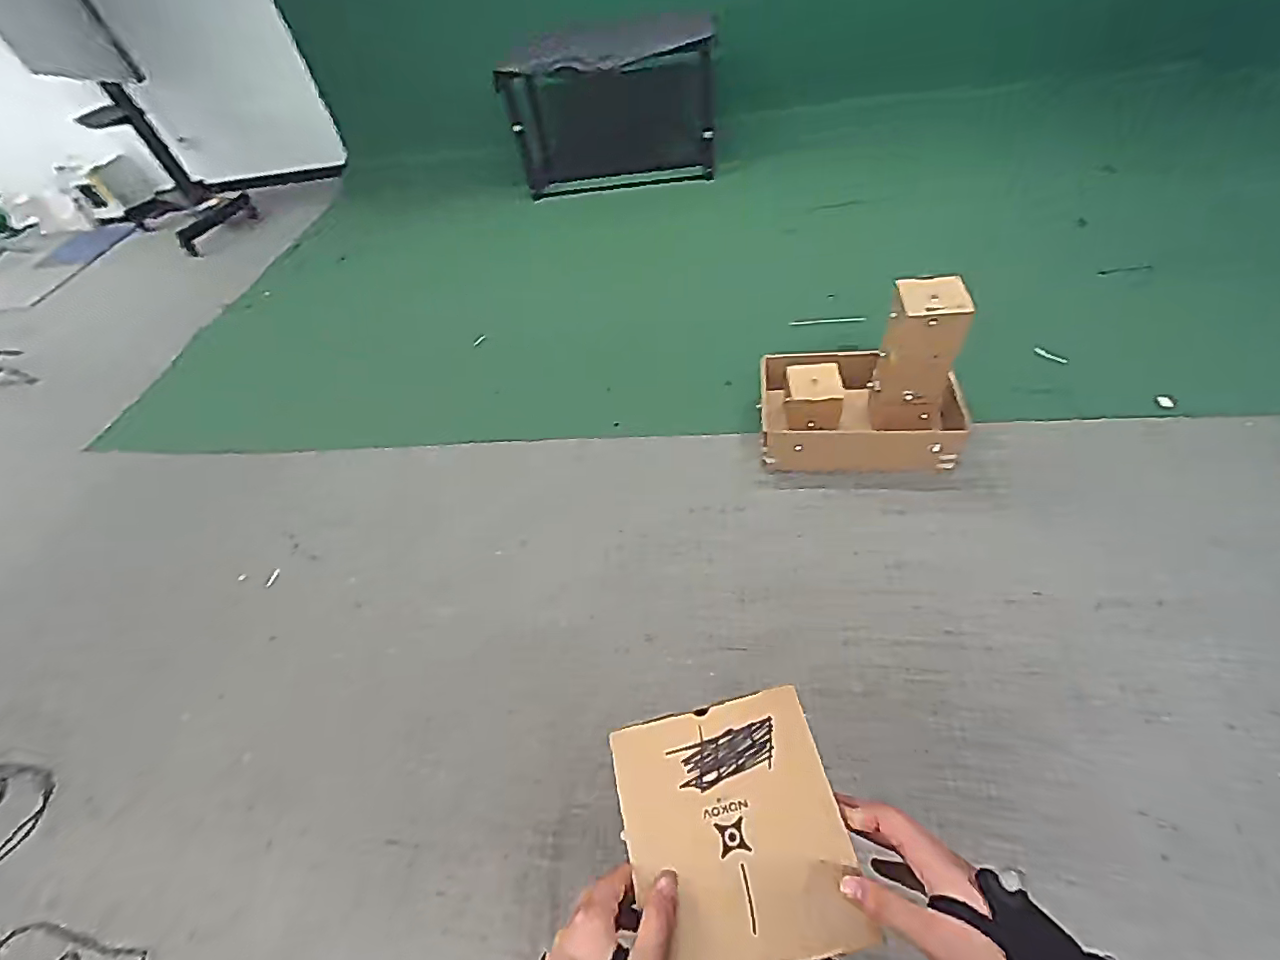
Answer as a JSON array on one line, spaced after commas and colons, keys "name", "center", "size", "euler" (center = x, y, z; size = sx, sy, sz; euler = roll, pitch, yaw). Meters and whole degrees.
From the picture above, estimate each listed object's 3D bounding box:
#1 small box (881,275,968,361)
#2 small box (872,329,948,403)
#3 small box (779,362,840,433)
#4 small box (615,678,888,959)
[{"name": "small box", "center": [0.805, -0.462, 1.552], "size": [0.168, 0.176, 0.179], "euler": [-2, 51, 10]}, {"name": "small box", "center": [0.830, -0.361, 1.679], "size": [0.168, 0.176, 0.179], "euler": [1, 53, 12]}, {"name": "small box", "center": [0.580, -0.284, 1.874], "size": [0.168, 0.176, 0.179], "euler": [-3, 52, 7]}, {"name": "small box", "center": [0.086, 0.300, 0.473], "size": [0.168, 0.176, 0.179], "euler": [-16, 54, 3]}]
